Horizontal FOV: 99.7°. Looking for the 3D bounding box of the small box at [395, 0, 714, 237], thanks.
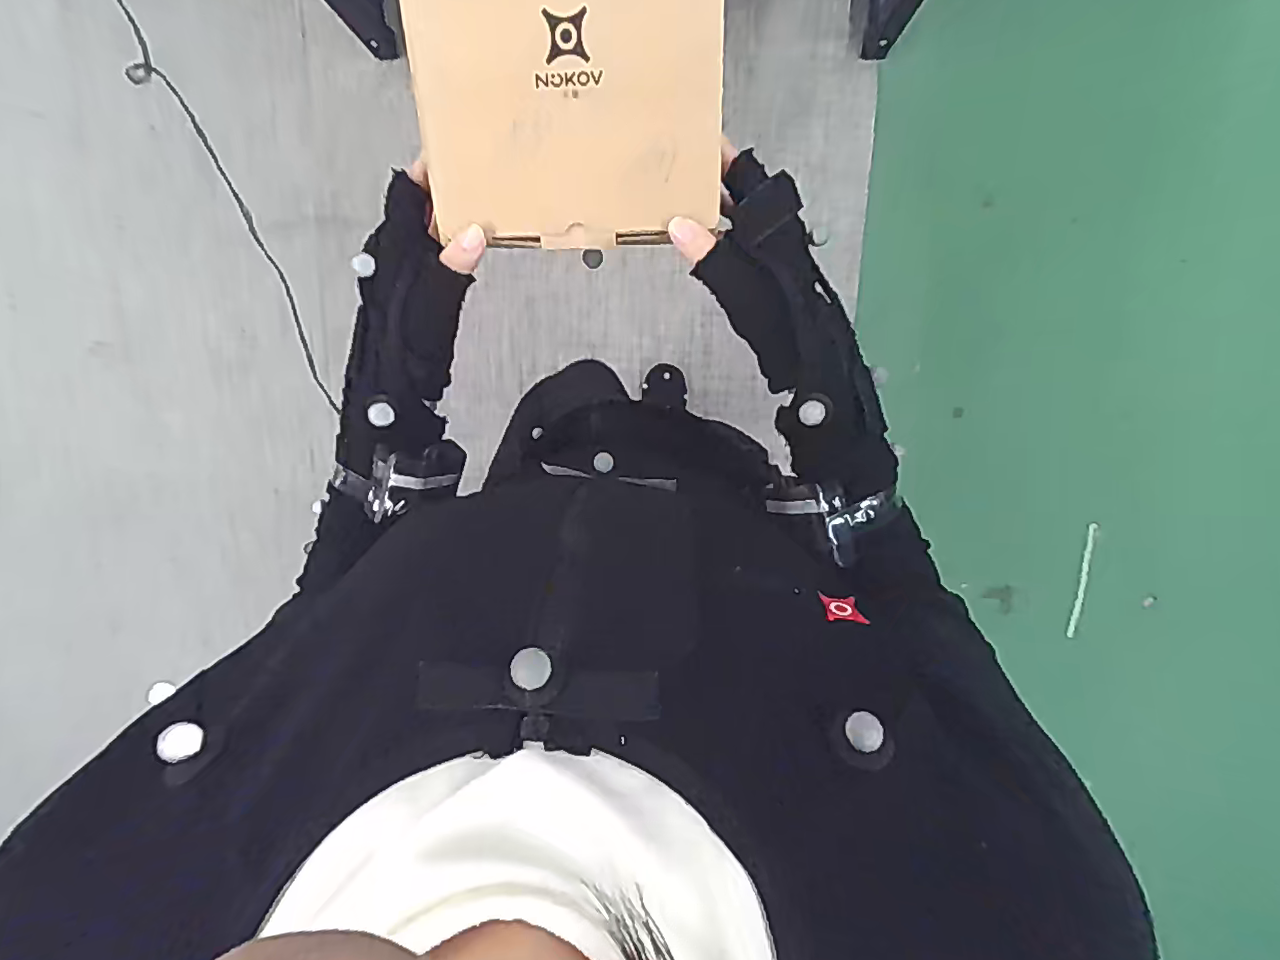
[{"bbox_3d":[-0.039,-0.260,0.353,0.168,0.176,0.179,-2,114,3],"label":"small box"}]
